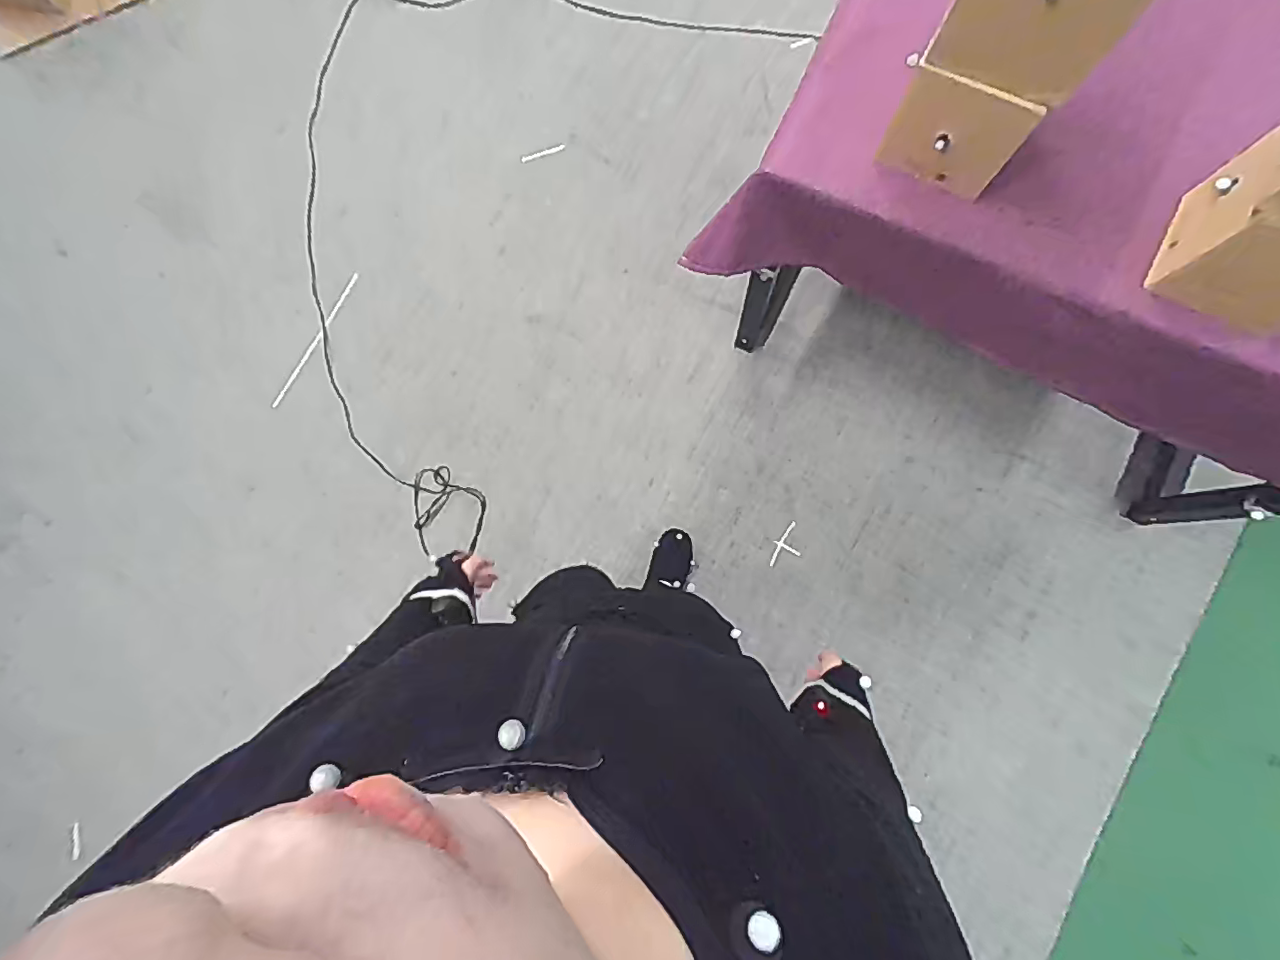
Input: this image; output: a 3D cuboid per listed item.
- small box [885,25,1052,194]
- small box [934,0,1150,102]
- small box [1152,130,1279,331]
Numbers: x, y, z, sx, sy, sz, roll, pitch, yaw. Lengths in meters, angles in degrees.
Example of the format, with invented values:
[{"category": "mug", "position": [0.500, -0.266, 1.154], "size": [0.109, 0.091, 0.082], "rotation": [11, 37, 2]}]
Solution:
[{"category": "small box", "position": [0.467, -0.540, 0.745], "size": [0.168, 0.176, 0.179], "rotation": [29, 85, 7]}, {"category": "small box", "position": [0.459, -0.561, 0.583], "size": [0.179, 0.176, 0.168], "rotation": [28, 86, 7]}, {"category": "small box", "position": [0.827, -0.318, 0.688], "size": [0.179, 0.176, 0.168], "rotation": [28, 85, 7]}]
